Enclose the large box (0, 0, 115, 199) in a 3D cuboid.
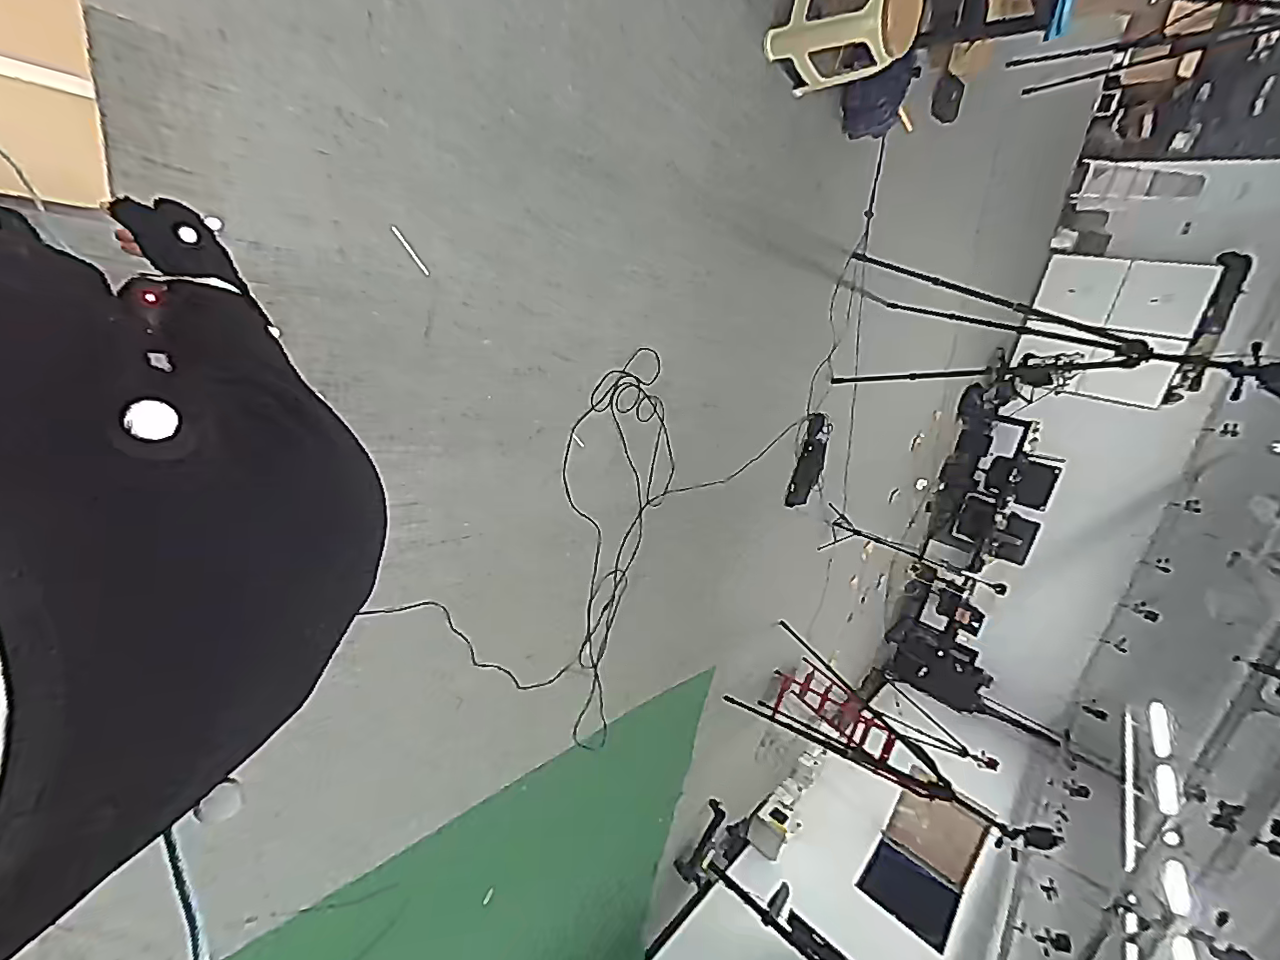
[{"bbox_3d":[-1.010,-0.581,0.710,0.408,0.320,0.320,-12,119,-47],"label":"large box"}]
